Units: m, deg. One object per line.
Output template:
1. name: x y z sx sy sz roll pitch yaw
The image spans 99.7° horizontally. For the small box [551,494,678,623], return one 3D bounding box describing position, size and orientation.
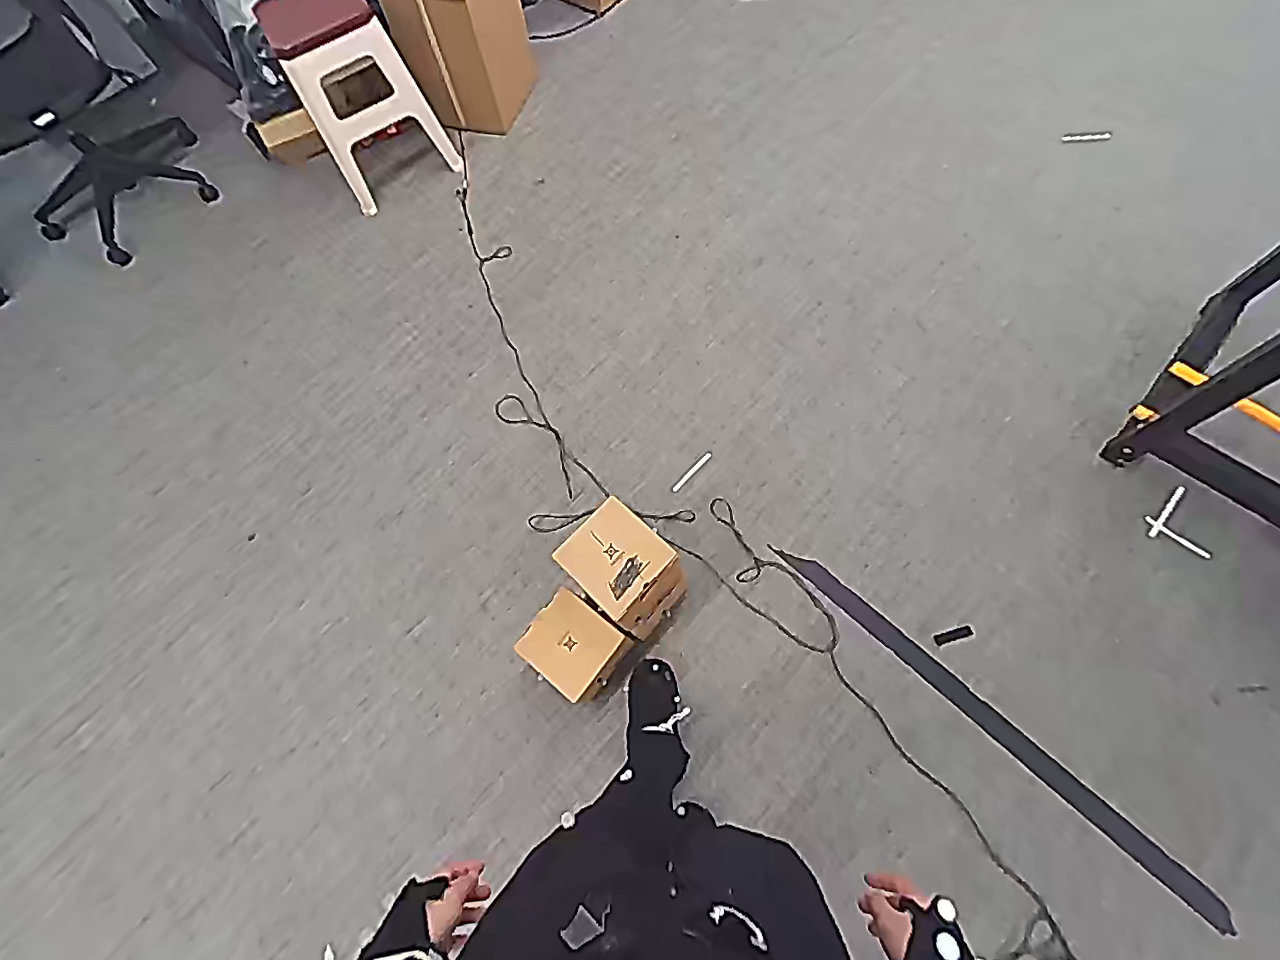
1. small box: -0.040 0.160 1.054 0.179 0.176 0.168 41 78 20
